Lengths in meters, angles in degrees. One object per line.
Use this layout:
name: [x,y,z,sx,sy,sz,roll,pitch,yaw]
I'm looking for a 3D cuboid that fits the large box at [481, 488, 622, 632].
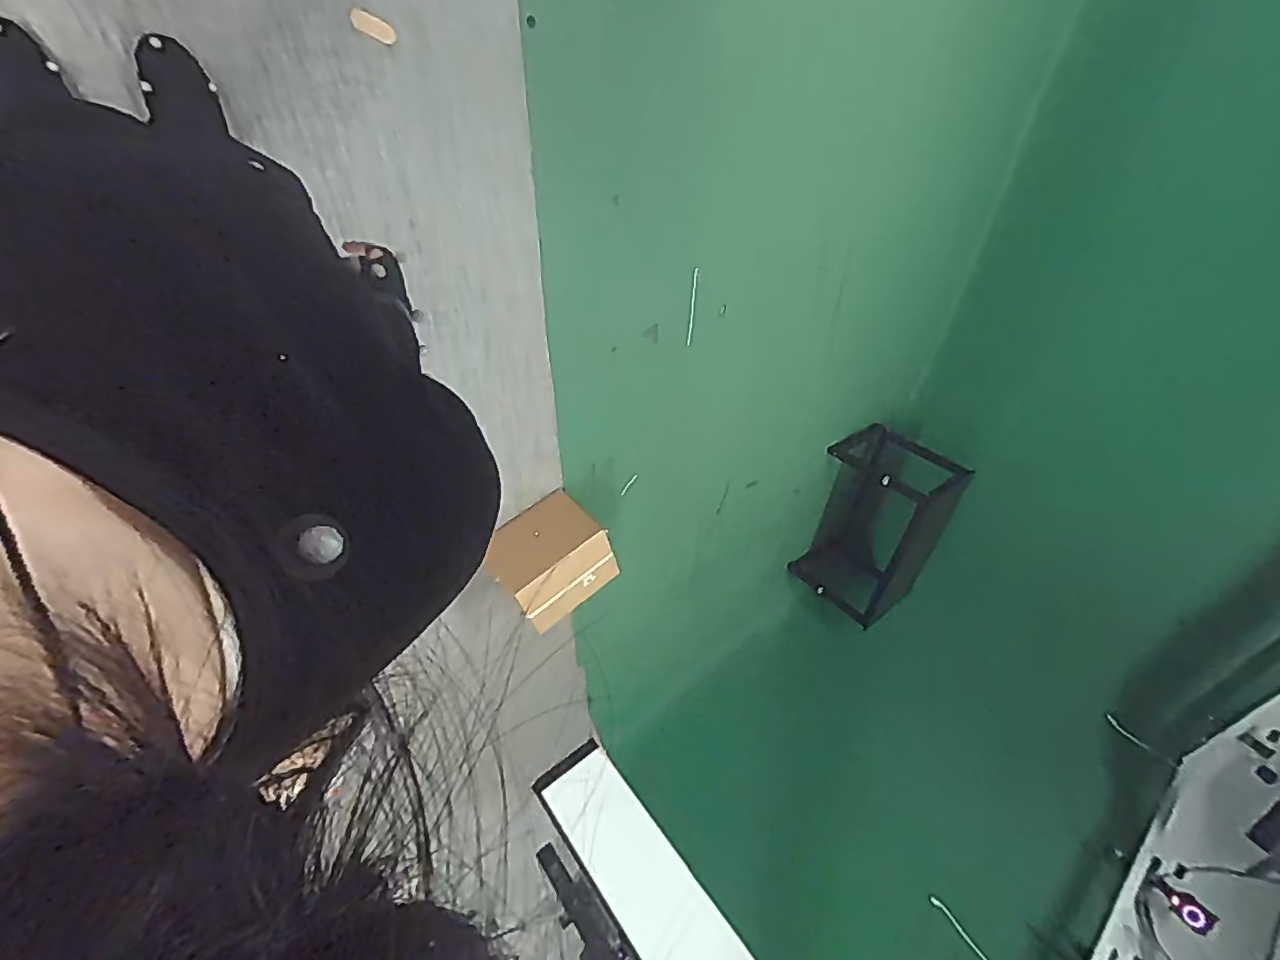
large box: [-0.344,0.310,2.146,0.408,0.320,0.320,-37,142,-19]
